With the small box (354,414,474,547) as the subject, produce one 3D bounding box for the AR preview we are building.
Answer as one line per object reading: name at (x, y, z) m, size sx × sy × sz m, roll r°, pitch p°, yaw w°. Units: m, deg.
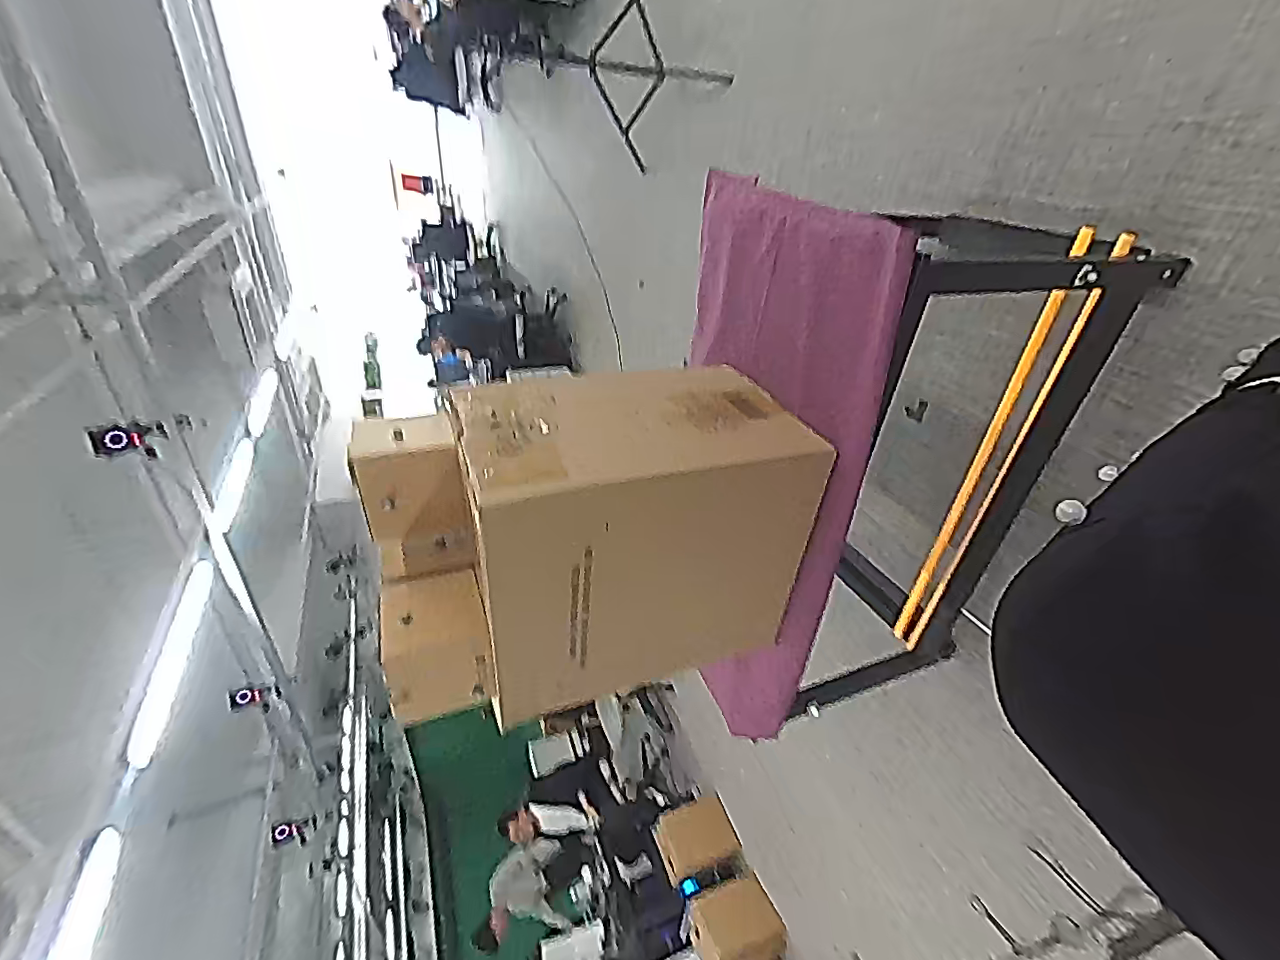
small box at (-0.411, -0.008, 0.990) m, size 0.168 × 0.176 × 0.179 m, roll -130°, pitch 35°, yaw -53°
